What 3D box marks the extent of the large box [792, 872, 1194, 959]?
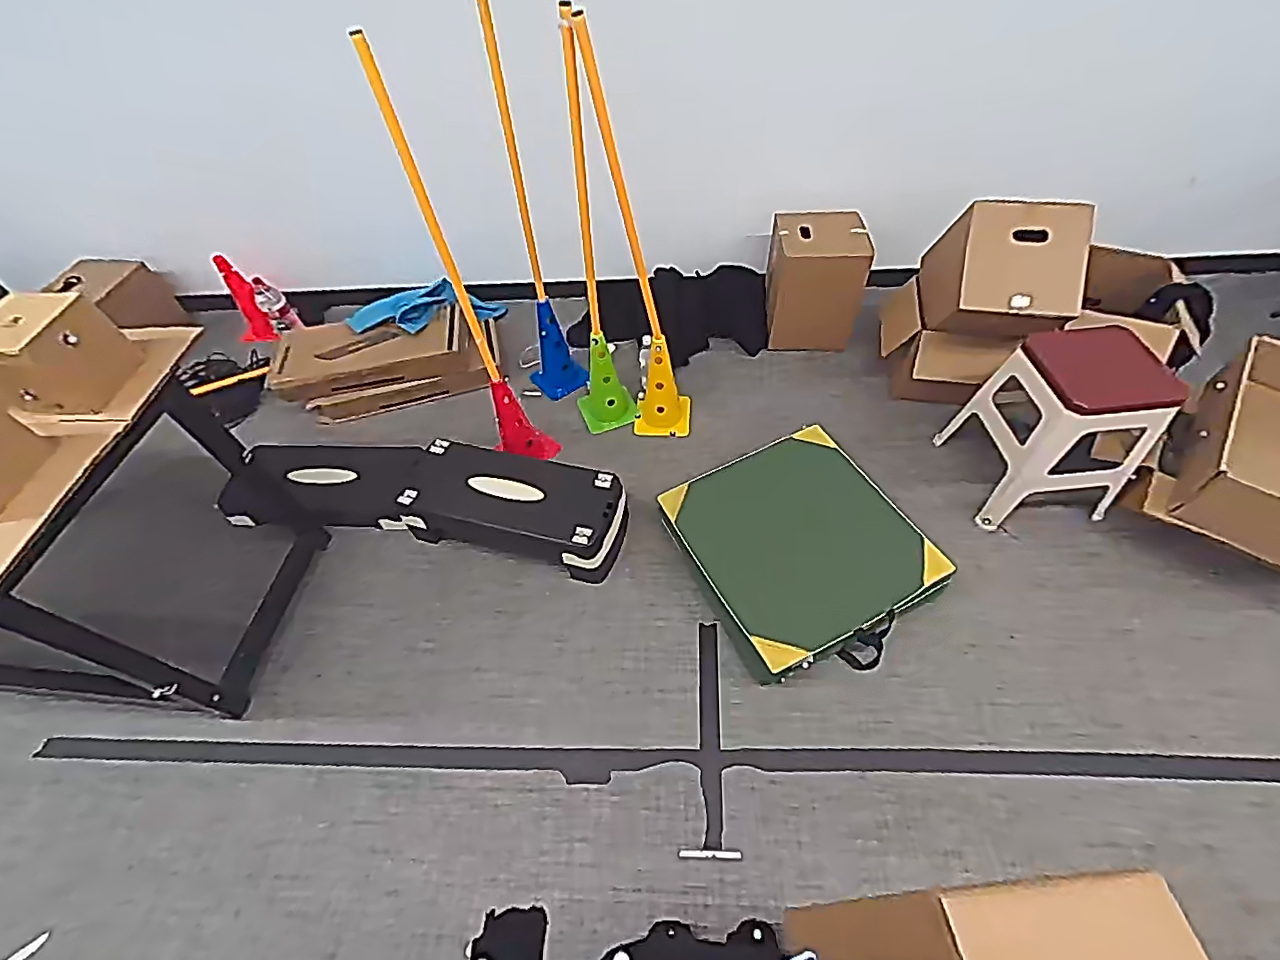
[{"bbox_3d":[0.445,0.708,0.668,0.320,0.408,0.320,4,49,-11],"label":"large box"}]
